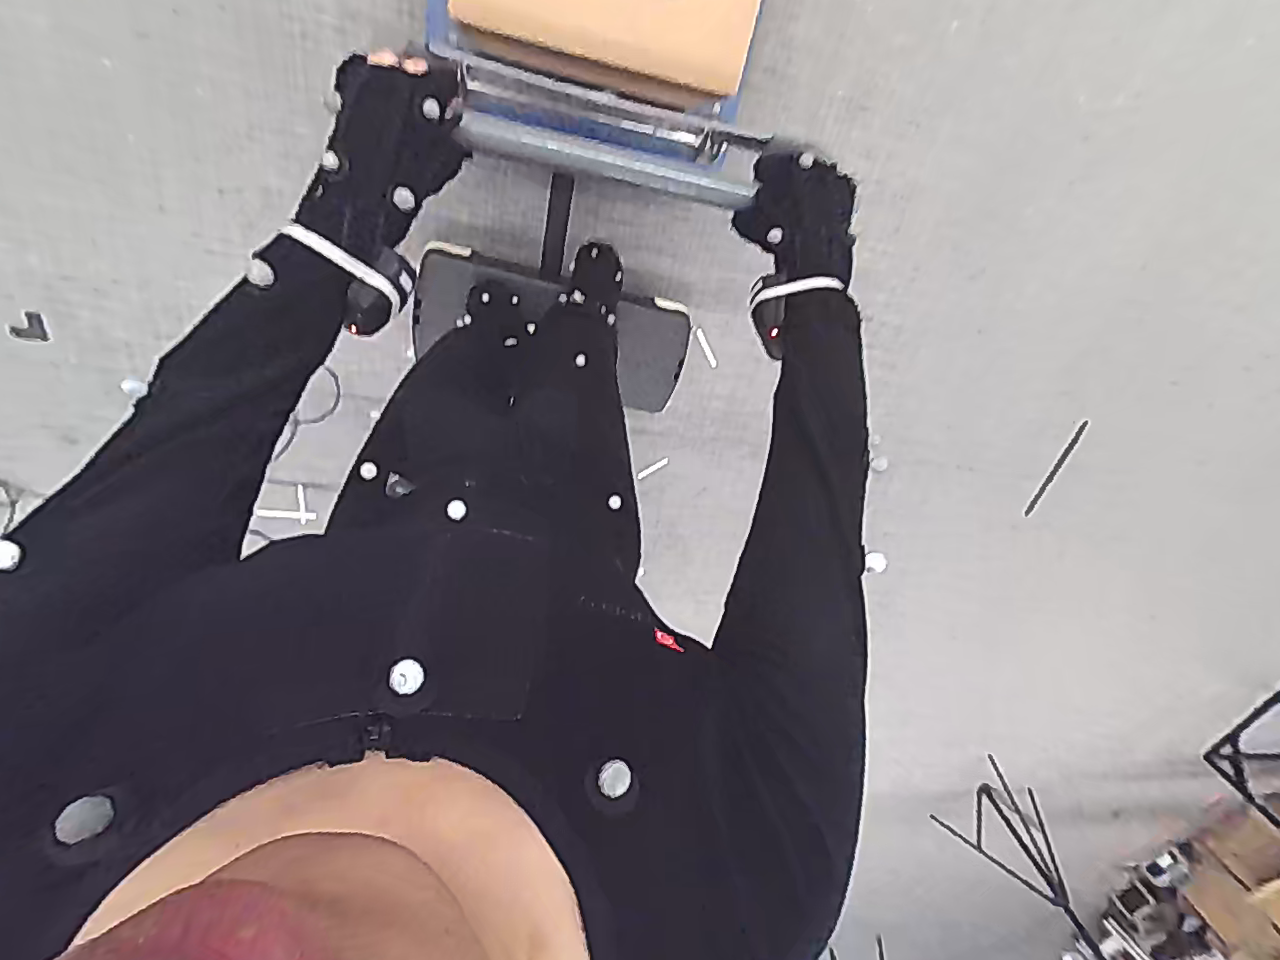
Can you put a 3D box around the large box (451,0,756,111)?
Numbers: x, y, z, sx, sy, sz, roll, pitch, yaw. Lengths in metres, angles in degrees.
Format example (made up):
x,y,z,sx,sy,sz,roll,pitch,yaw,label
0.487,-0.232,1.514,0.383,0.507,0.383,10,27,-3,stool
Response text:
x,y,z,sx,sy,sz,roll,pitch,yaw,label
-0.055,-0.776,0.797,0.408,0.320,0.320,4,121,-15,large box
